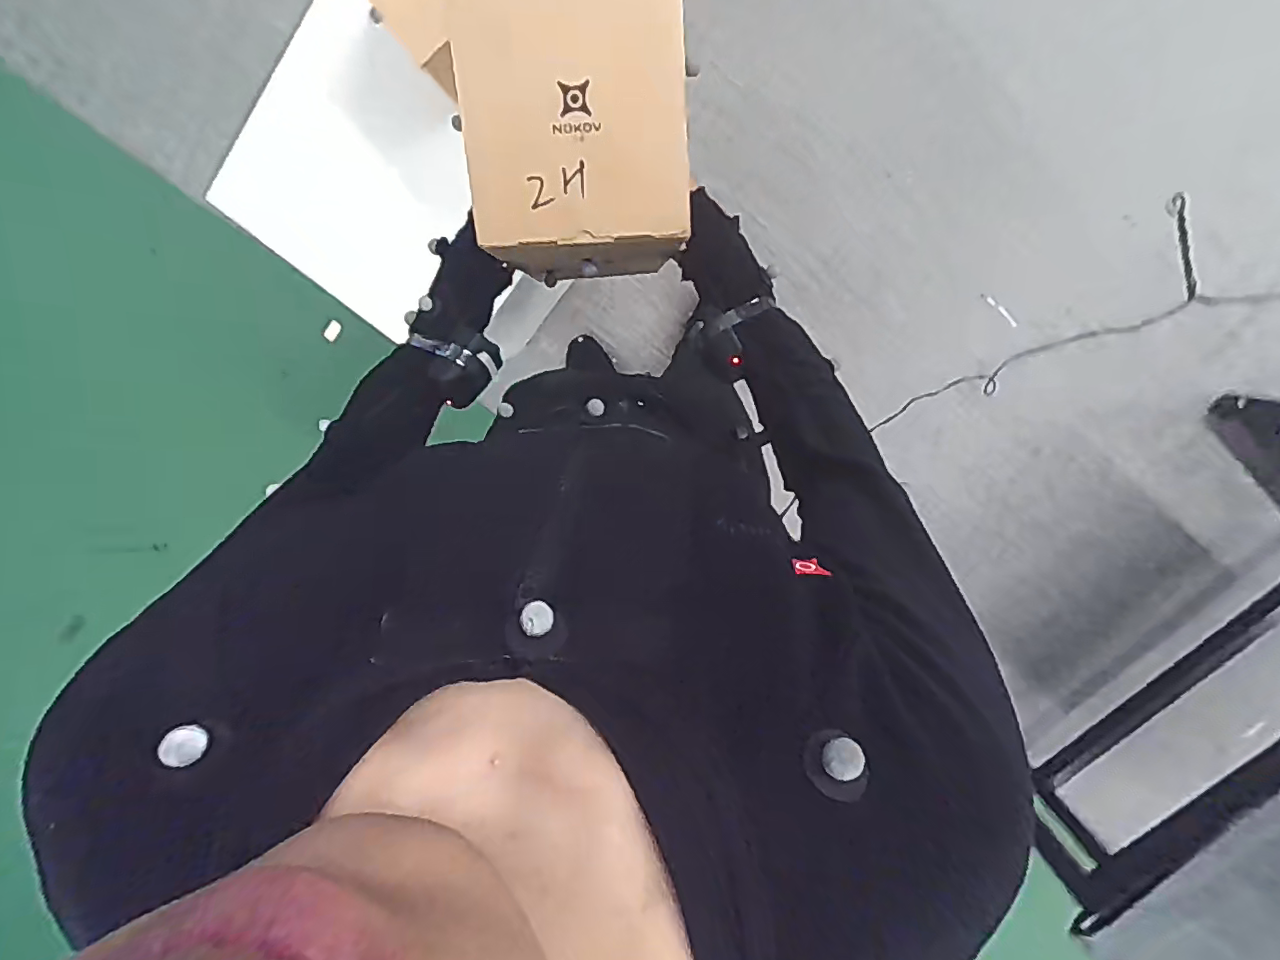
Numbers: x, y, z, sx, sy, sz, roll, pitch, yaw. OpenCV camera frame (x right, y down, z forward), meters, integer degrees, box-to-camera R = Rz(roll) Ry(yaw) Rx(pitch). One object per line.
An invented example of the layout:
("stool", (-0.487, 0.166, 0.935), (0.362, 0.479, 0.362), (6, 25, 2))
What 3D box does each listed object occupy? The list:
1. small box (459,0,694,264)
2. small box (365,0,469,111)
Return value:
("small box", (-0.047, -0.292, 0.468), (0.168, 0.176, 0.179), (-3, 106, -2))
("small box", (-0.216, -0.569, 0.611), (0.179, 0.176, 0.168), (-37, 104, 10))
